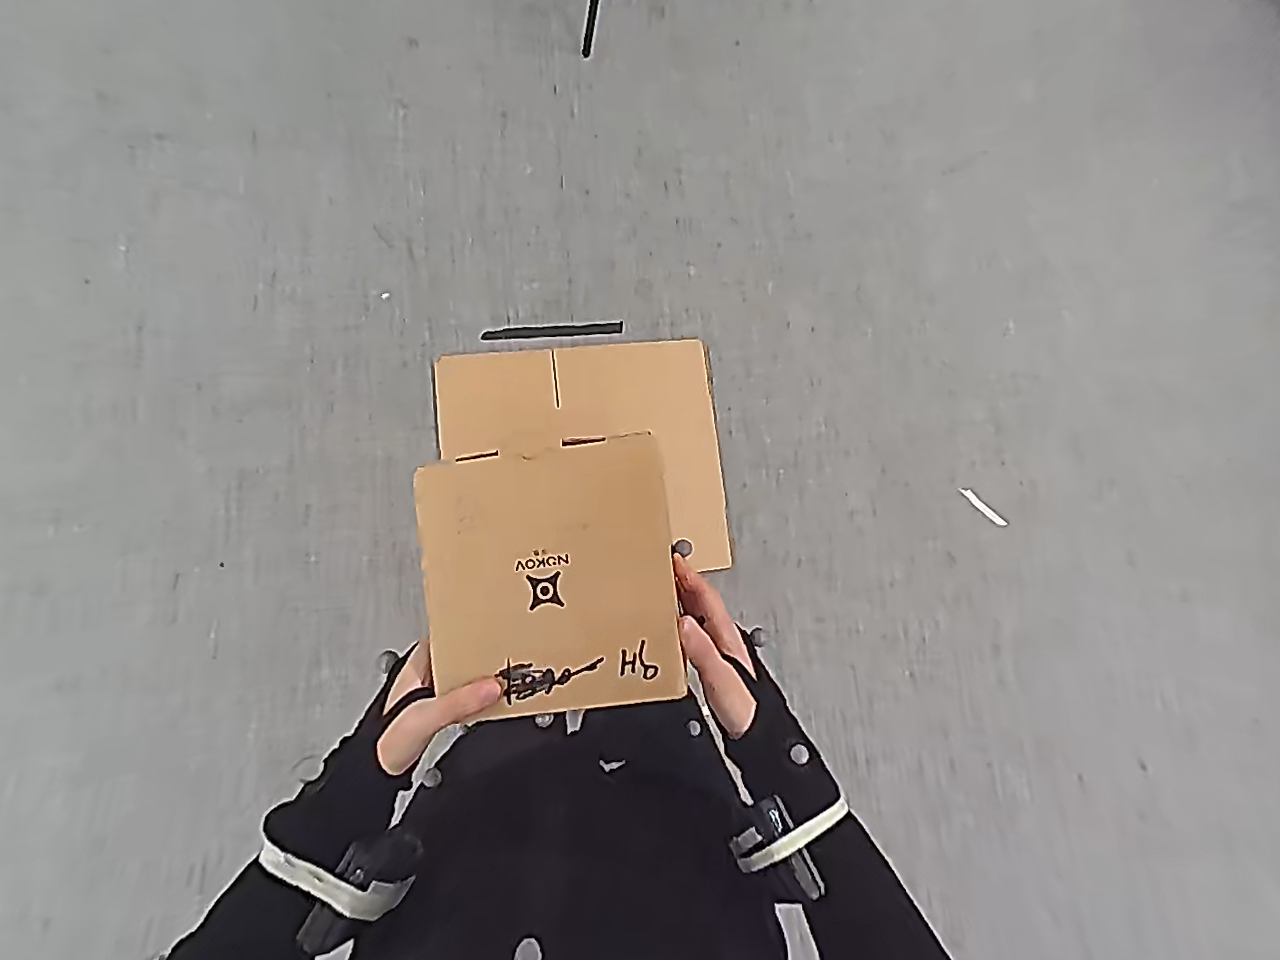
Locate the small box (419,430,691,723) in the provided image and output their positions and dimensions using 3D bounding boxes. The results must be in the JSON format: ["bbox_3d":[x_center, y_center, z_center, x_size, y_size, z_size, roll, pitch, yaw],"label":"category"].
[{"bbox_3d":[-0.054,0.070,0.434,0.168,0.176,0.179,-9,84,4],"label":"small box"}]
